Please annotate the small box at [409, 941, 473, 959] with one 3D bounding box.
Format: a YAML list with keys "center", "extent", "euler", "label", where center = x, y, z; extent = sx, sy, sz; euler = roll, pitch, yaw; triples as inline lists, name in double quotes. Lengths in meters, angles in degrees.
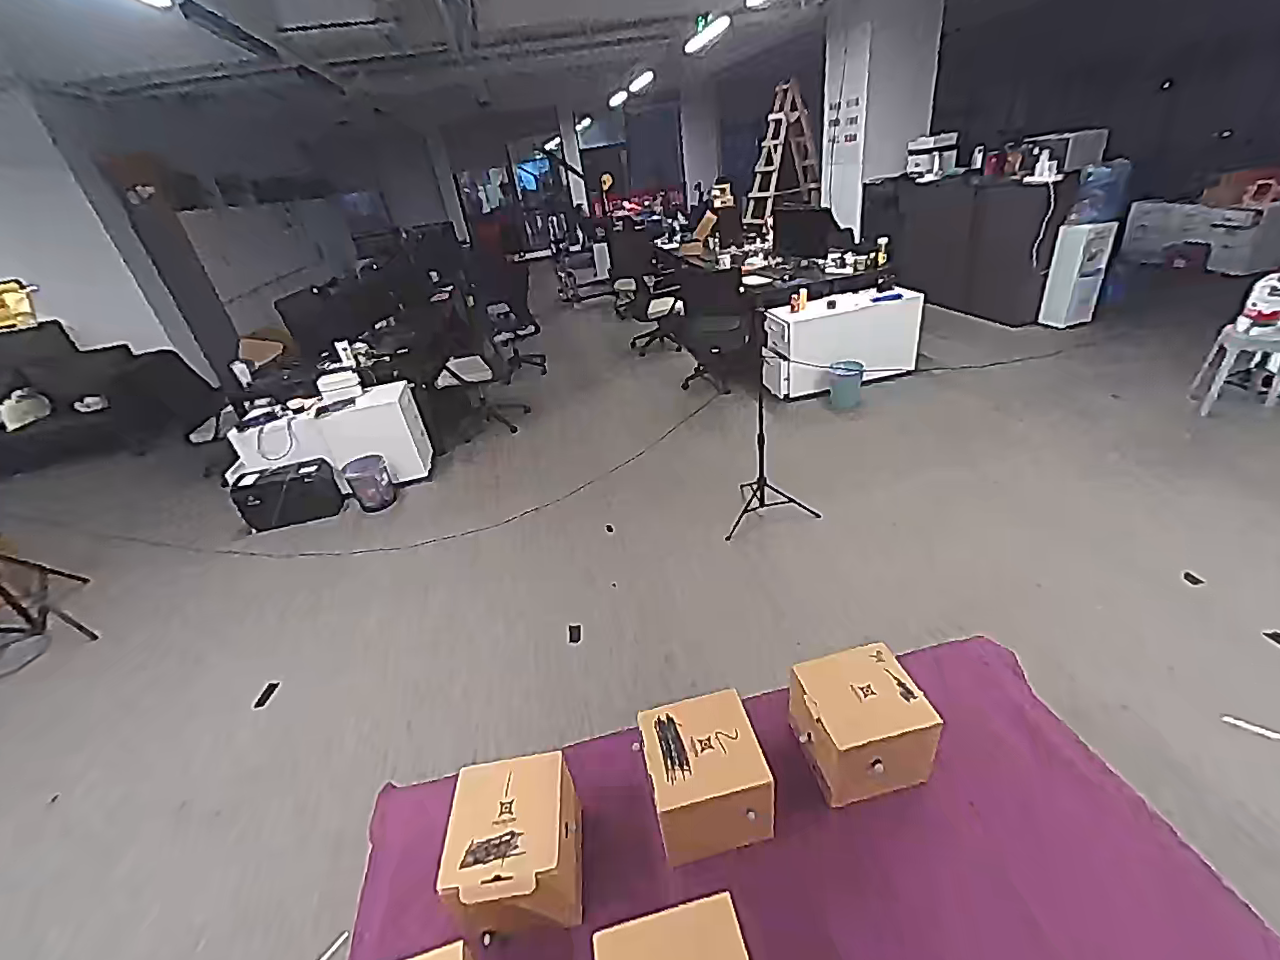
- center: [-0.263, 0.686, 0.611]
  extent: [0.168, 0.176, 0.179]
  euler: [-13, 31, -10]
  label: "small box"

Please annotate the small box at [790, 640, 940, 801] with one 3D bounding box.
- center: [0.369, 0.406, 0.914]
  extent: [0.179, 0.176, 0.168]
  euler: [-13, 33, -5]
  label: "small box"

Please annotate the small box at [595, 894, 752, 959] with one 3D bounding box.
- center: [0.054, 0.629, 0.625]
  extent: [0.179, 0.176, 0.168]
  euler: [-13, 31, -6]
  label: "small box"

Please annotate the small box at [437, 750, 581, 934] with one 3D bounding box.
- center: [-0.185, 0.551, 0.821]
  extent: [0.168, 0.176, 0.179]
  euler: [-9, 30, -1]
  label: "small box"
